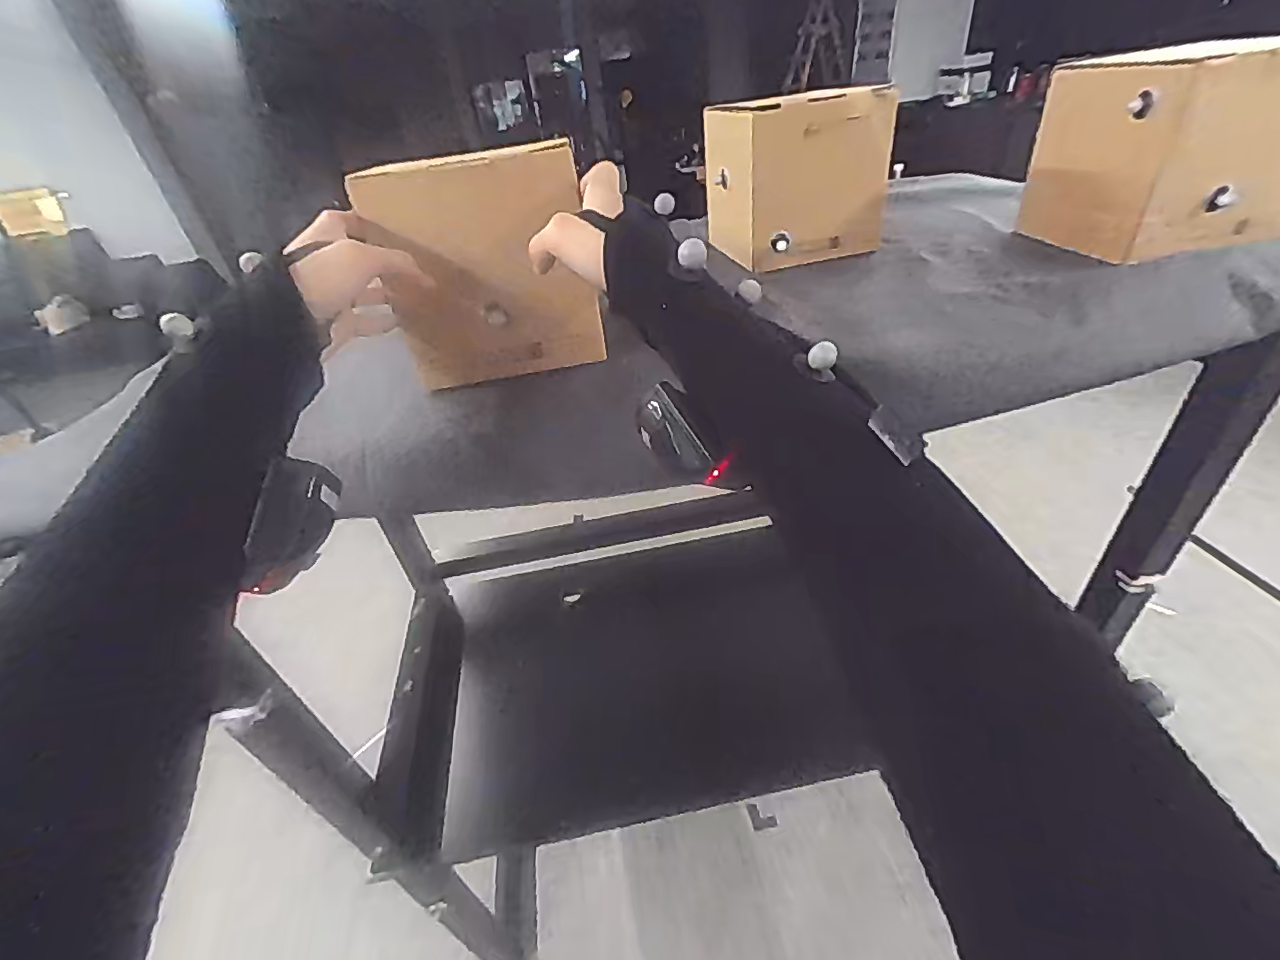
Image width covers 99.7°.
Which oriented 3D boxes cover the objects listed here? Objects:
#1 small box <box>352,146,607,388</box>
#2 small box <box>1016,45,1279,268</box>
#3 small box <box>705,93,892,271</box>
[{"bbox_3d":[-0.128,-0.201,0.502,0.168,0.176,0.179,-10,33,-2],"label":"small box"},{"bbox_3d":[0.535,-0.331,0.558,0.168,0.176,0.179,-9,36,0],"label":"small box"},{"bbox_3d":[0.189,-0.376,0.687,0.168,0.176,0.179,-12,35,-6],"label":"small box"}]
